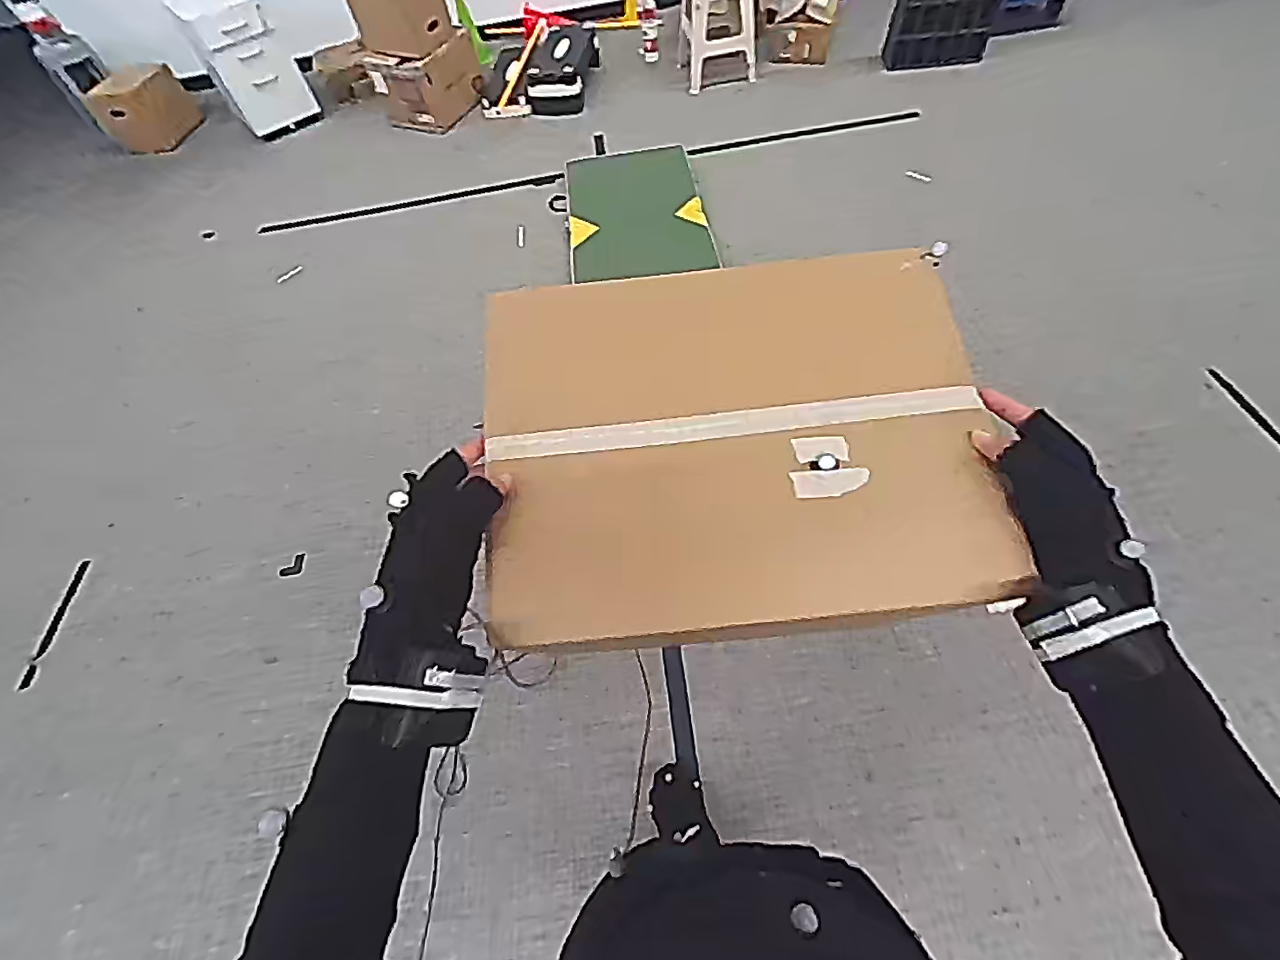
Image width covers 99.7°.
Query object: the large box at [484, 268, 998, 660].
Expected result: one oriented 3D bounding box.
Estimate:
[{"bbox_3d":[0.069,0.013,0.607,0.408,0.320,0.320,-7,71,-1],"label":"large box"}]
